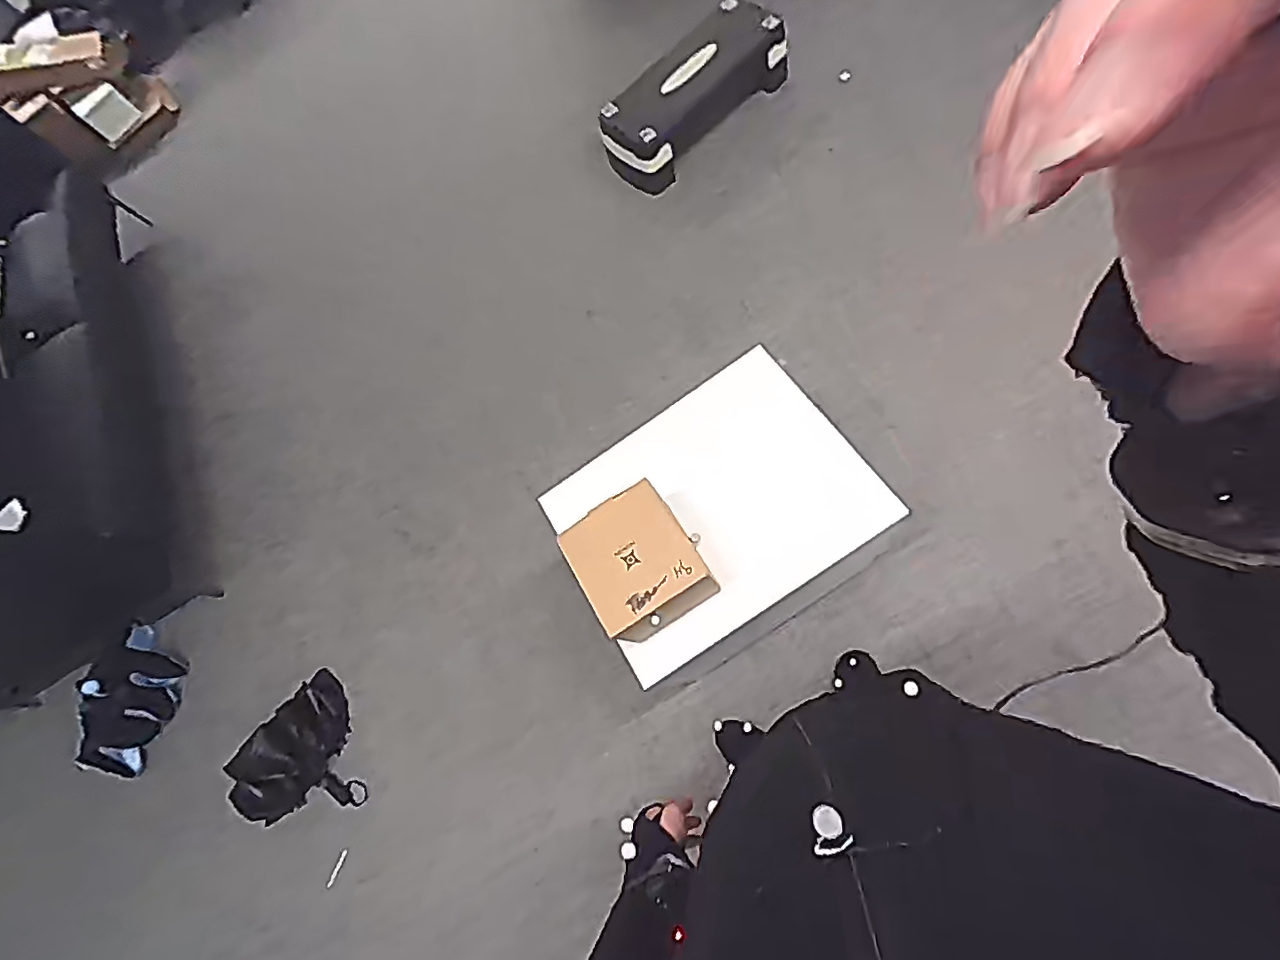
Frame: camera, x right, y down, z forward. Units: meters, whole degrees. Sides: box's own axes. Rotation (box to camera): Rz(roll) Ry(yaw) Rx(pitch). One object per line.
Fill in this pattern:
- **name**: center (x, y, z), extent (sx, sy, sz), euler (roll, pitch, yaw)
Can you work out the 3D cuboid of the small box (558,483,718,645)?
- **small box**: center (0.004, 0.139, 0.846), extent (0.168, 0.176, 0.179), euler (-34, 65, 1)
